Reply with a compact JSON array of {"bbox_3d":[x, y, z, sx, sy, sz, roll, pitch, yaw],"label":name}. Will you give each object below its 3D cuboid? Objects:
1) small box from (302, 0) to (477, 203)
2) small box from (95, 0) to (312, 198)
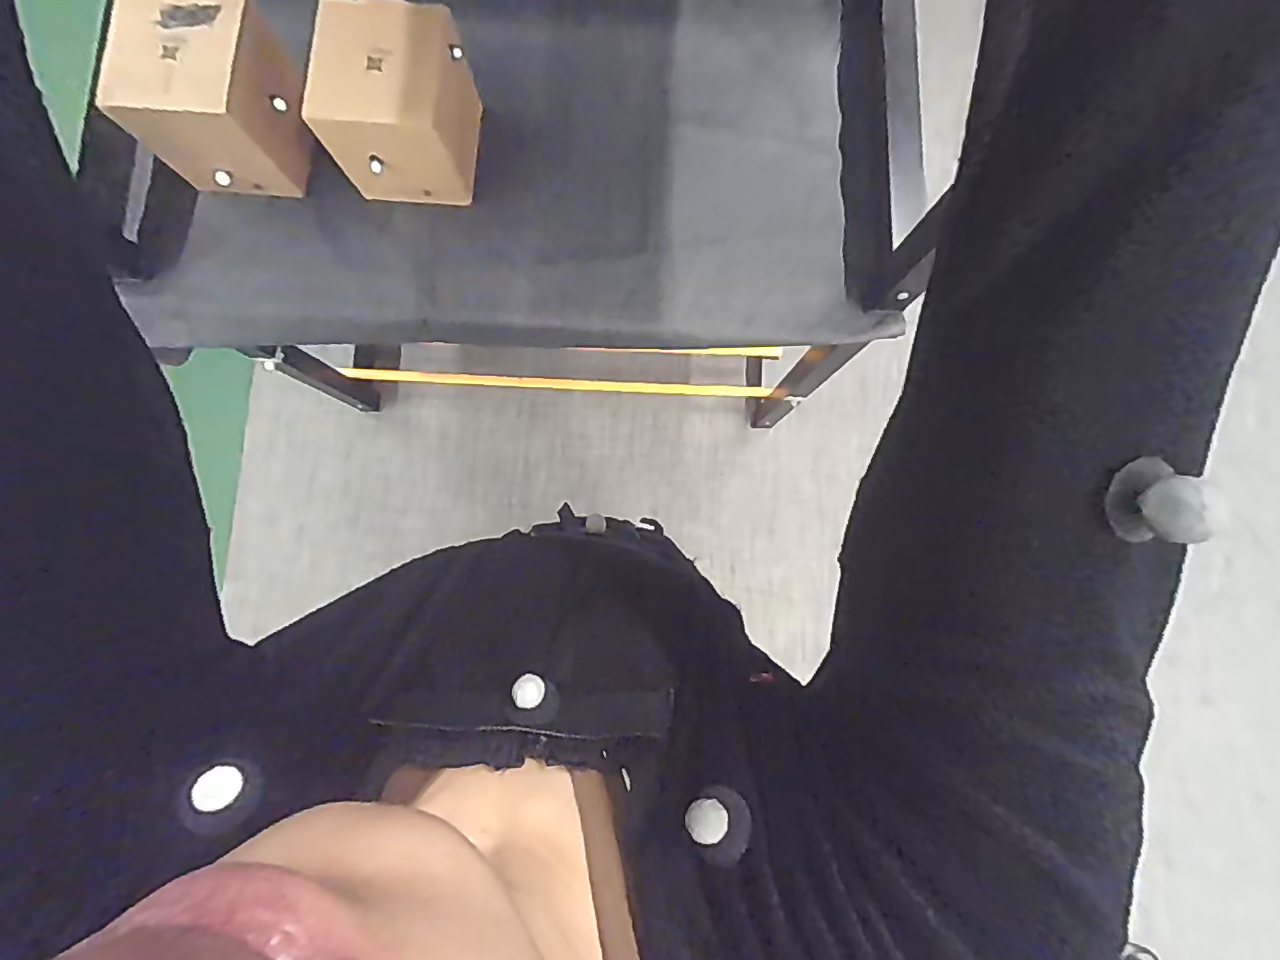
[{"bbox_3d":[-0.341,-0.524,0.768,0.168,0.176,0.179,3,83,-1],"label":"small box"},{"bbox_3d":[-0.593,-0.536,0.763,0.168,0.176,0.179,3,83,0],"label":"small box"}]
